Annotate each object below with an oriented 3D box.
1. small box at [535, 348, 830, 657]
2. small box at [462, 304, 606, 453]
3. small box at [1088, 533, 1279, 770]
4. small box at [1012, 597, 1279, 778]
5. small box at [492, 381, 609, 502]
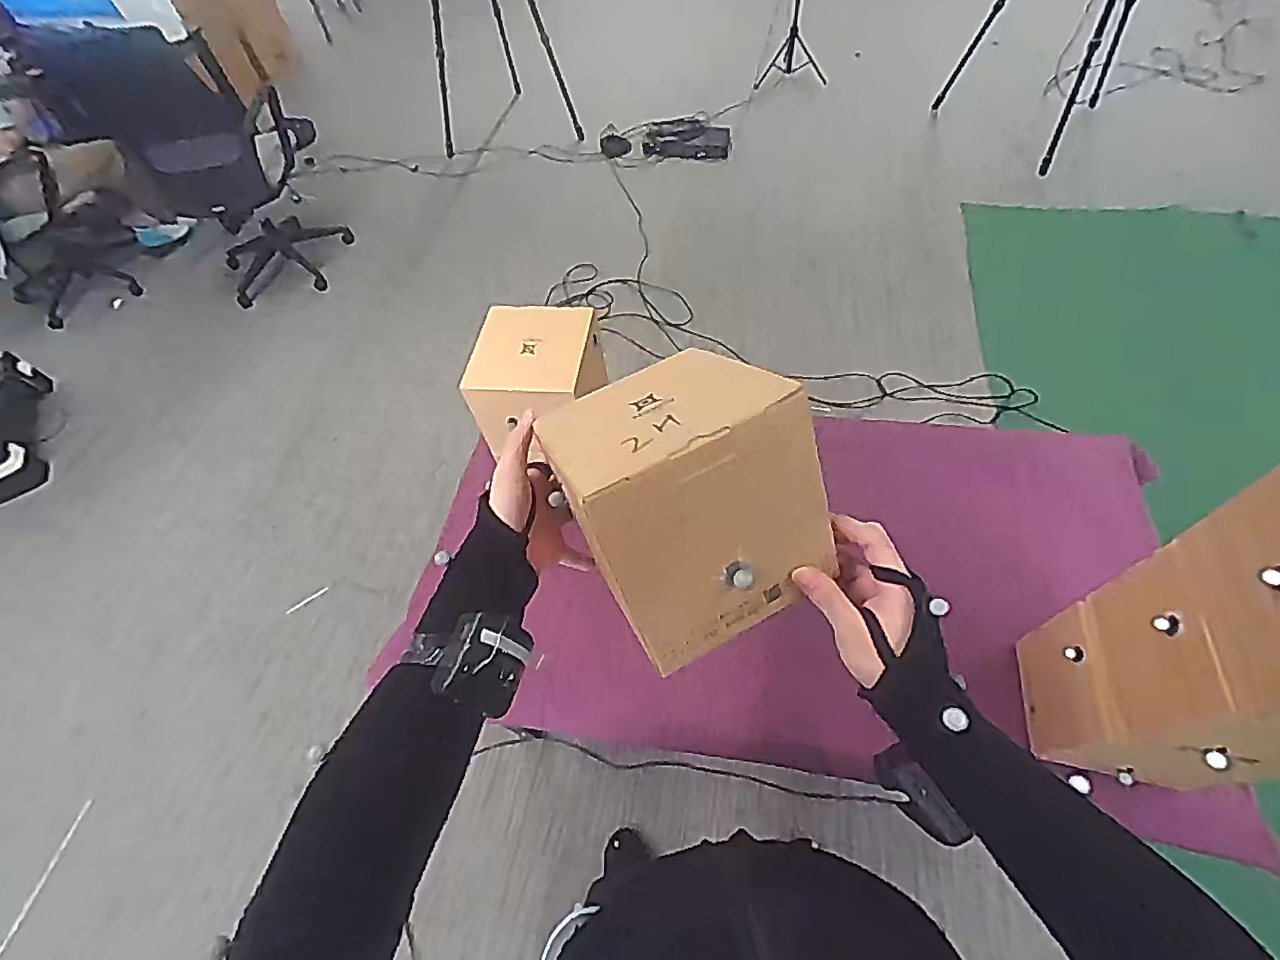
[{"bbox_3d":[0.032,0.009,0.454,0.168,0.176,0.179,-27,29,-9],"label":"small box"},{"bbox_3d":[-0.151,-0.153,0.850,0.168,0.176,0.179,3,58,7],"label":"small box"},{"bbox_3d":[0.614,0.181,0.564,0.168,0.176,0.179,8,58,12],"label":"small box"},{"bbox_3d":[0.624,0.273,0.698,0.179,0.176,0.168,9,57,11],"label":"small box"},{"bbox_3d":[-0.144,-0.071,0.988,0.179,0.176,0.168,2,58,7],"label":"small box"}]
